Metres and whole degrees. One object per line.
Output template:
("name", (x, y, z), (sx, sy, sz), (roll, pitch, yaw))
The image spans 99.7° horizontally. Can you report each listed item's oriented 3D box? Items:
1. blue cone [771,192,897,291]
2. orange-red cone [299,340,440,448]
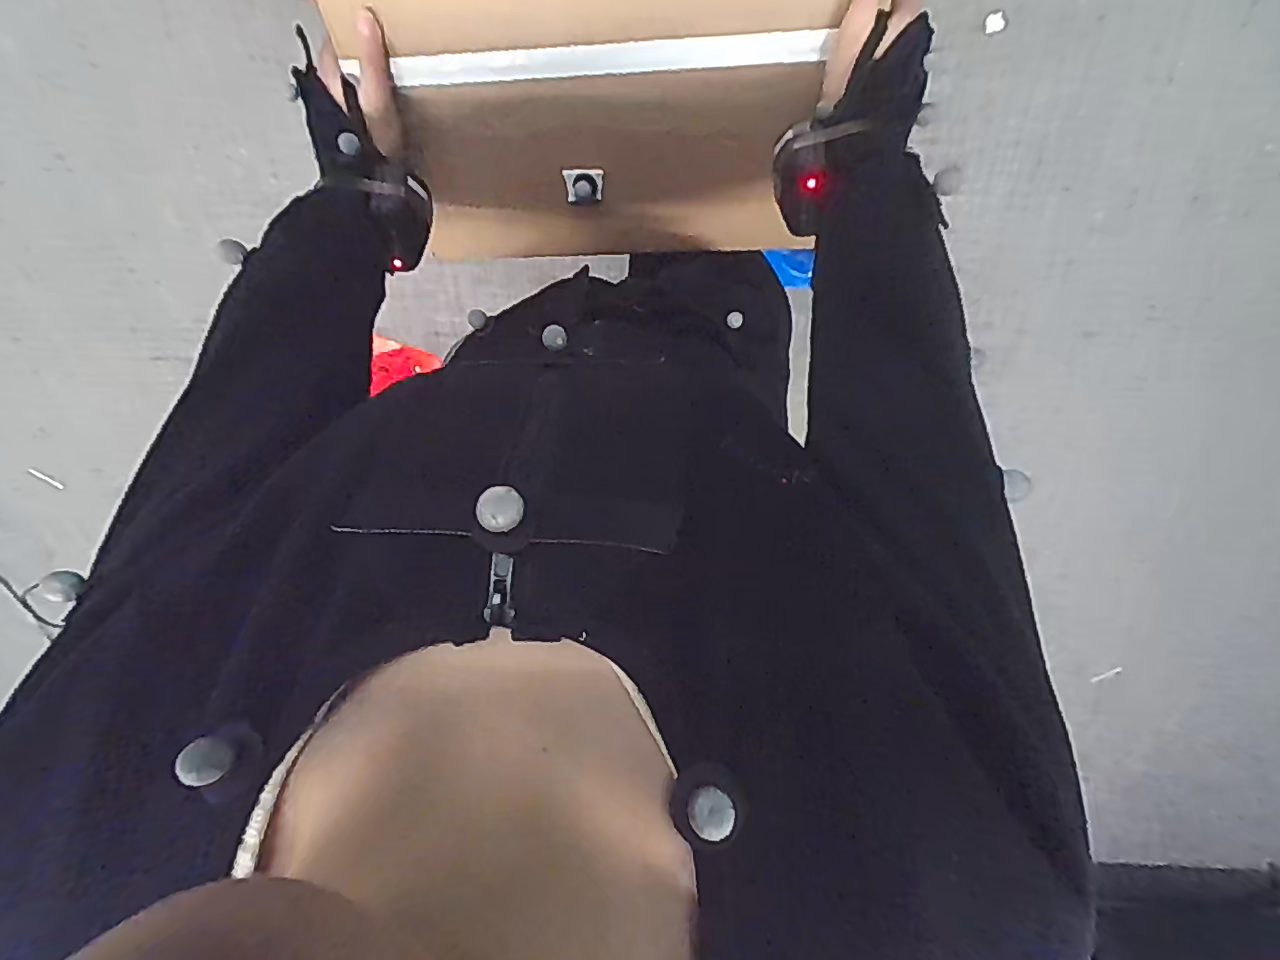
("blue cone", (0.371, -0.429, 0.992), (0.192, 0.380, 0.193), (2, 116, 1))
("orange-red cone", (-0.605, -0.148, 1.153), (0.199, 0.360, 0.198), (20, 114, -6))
